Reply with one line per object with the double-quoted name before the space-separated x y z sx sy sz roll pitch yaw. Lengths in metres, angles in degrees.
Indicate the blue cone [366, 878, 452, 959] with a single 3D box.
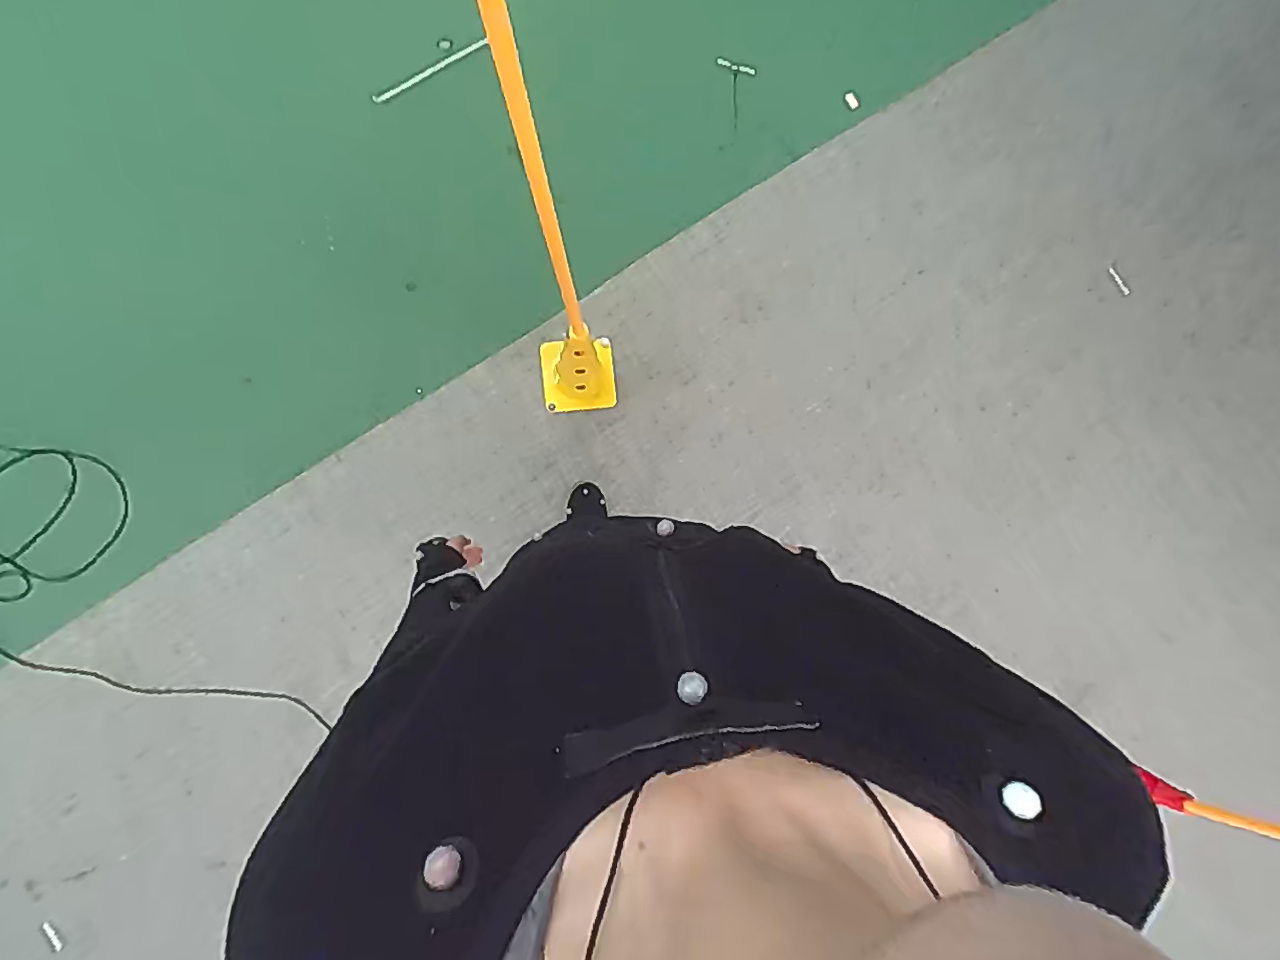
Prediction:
"blue cone" -0.549 1.078 1.173 0.192 0.380 0.193 10 86 -7
